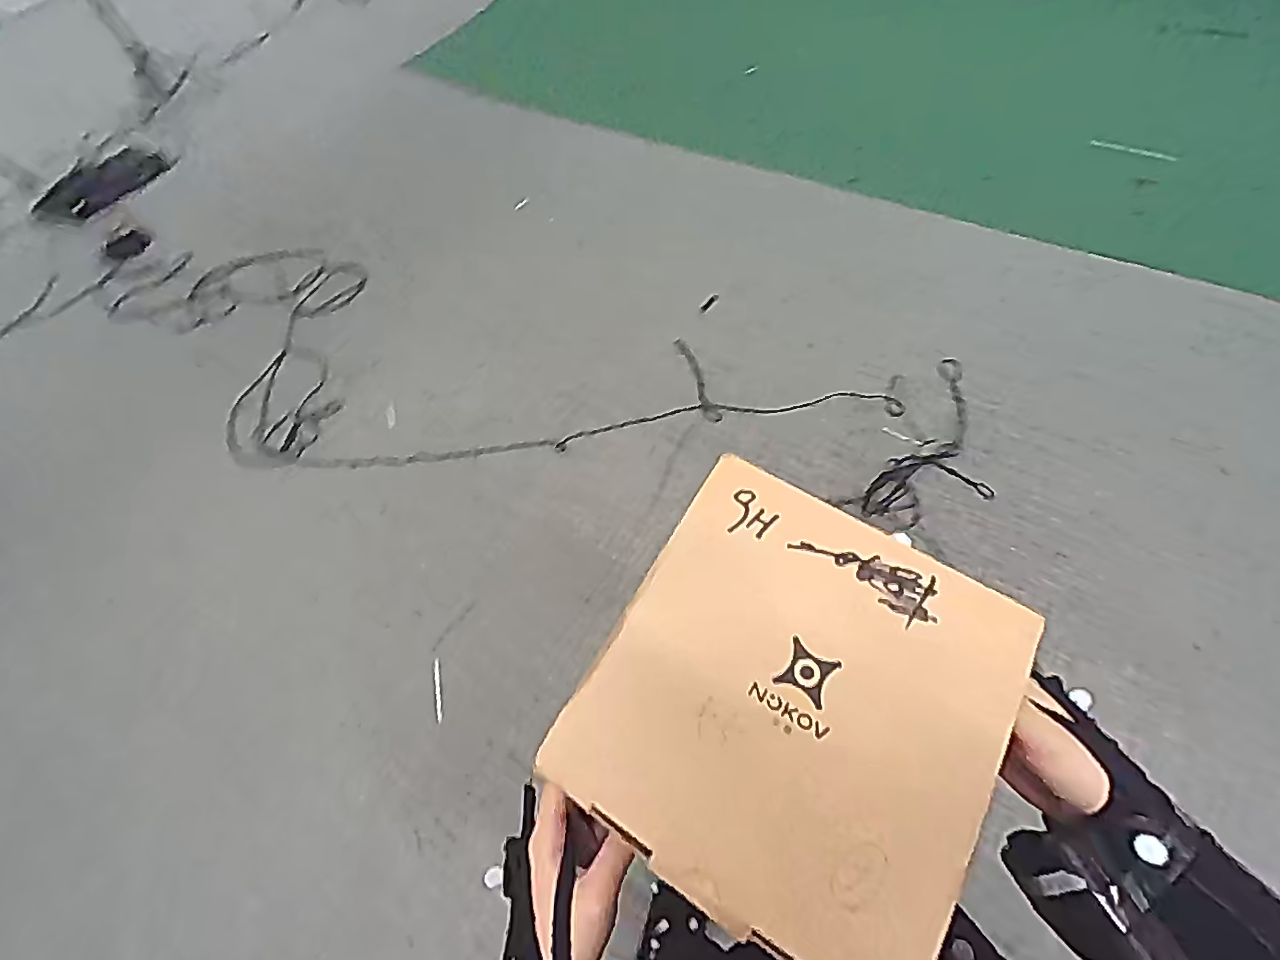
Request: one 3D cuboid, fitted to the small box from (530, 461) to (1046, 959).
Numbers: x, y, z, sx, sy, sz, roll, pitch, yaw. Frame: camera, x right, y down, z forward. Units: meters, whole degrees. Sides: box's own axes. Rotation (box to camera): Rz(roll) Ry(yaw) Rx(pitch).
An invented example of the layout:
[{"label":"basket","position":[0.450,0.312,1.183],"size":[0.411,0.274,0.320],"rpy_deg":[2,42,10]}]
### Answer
[{"label":"small box","position":[0.071,0.127,0.308],"size":[0.168,0.176,0.179],"rpy_deg":[30,72,15]}]
